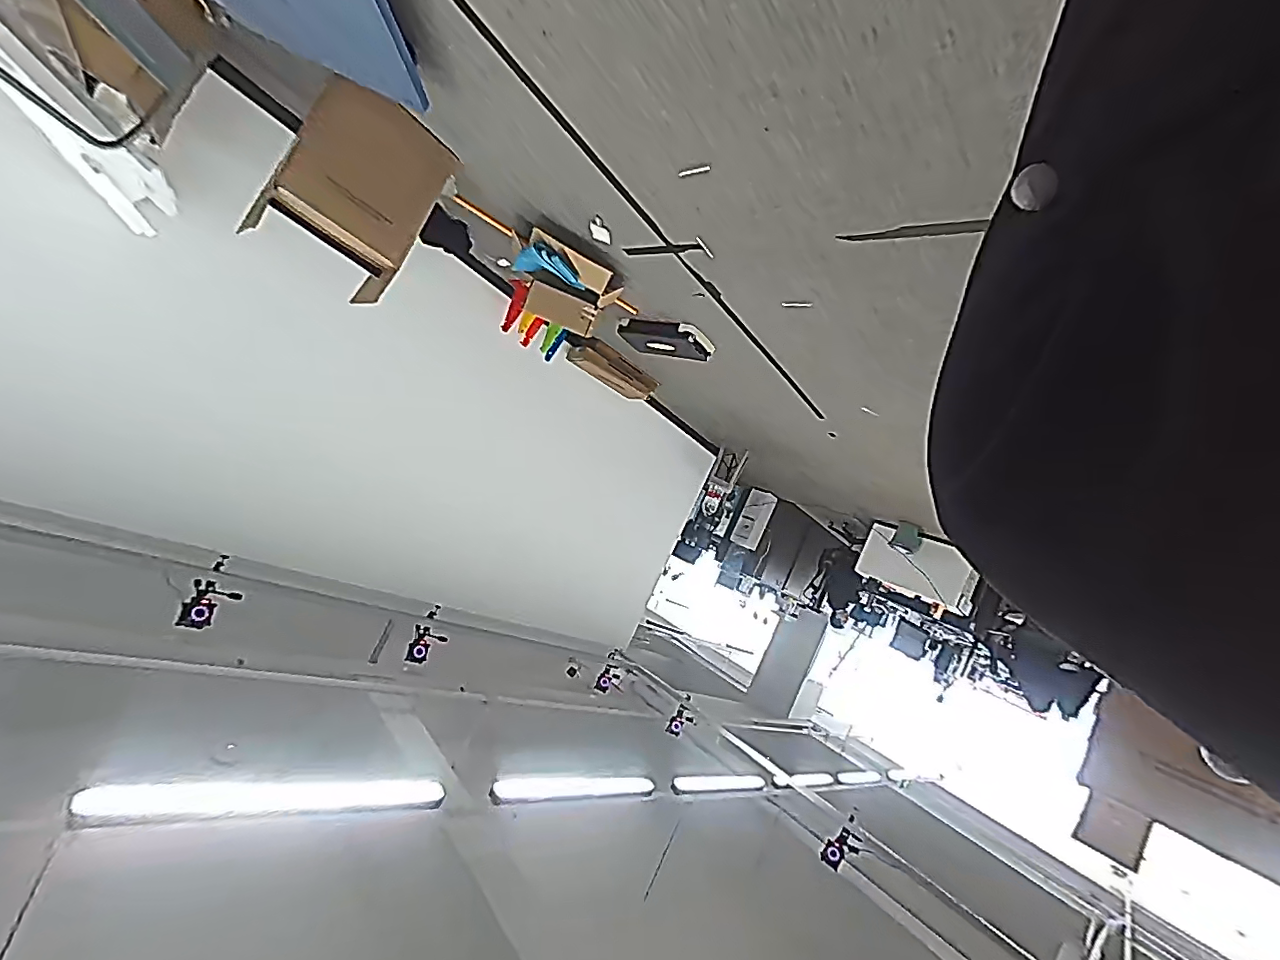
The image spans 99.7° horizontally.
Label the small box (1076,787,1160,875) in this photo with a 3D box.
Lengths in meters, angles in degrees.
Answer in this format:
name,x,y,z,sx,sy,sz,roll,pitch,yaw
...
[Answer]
name,x,y,z,sx,sy,sz,roll,pitch,yaw
small box,1.518,1.105,1.718,0.168,0.176,0.179,19,171,46
